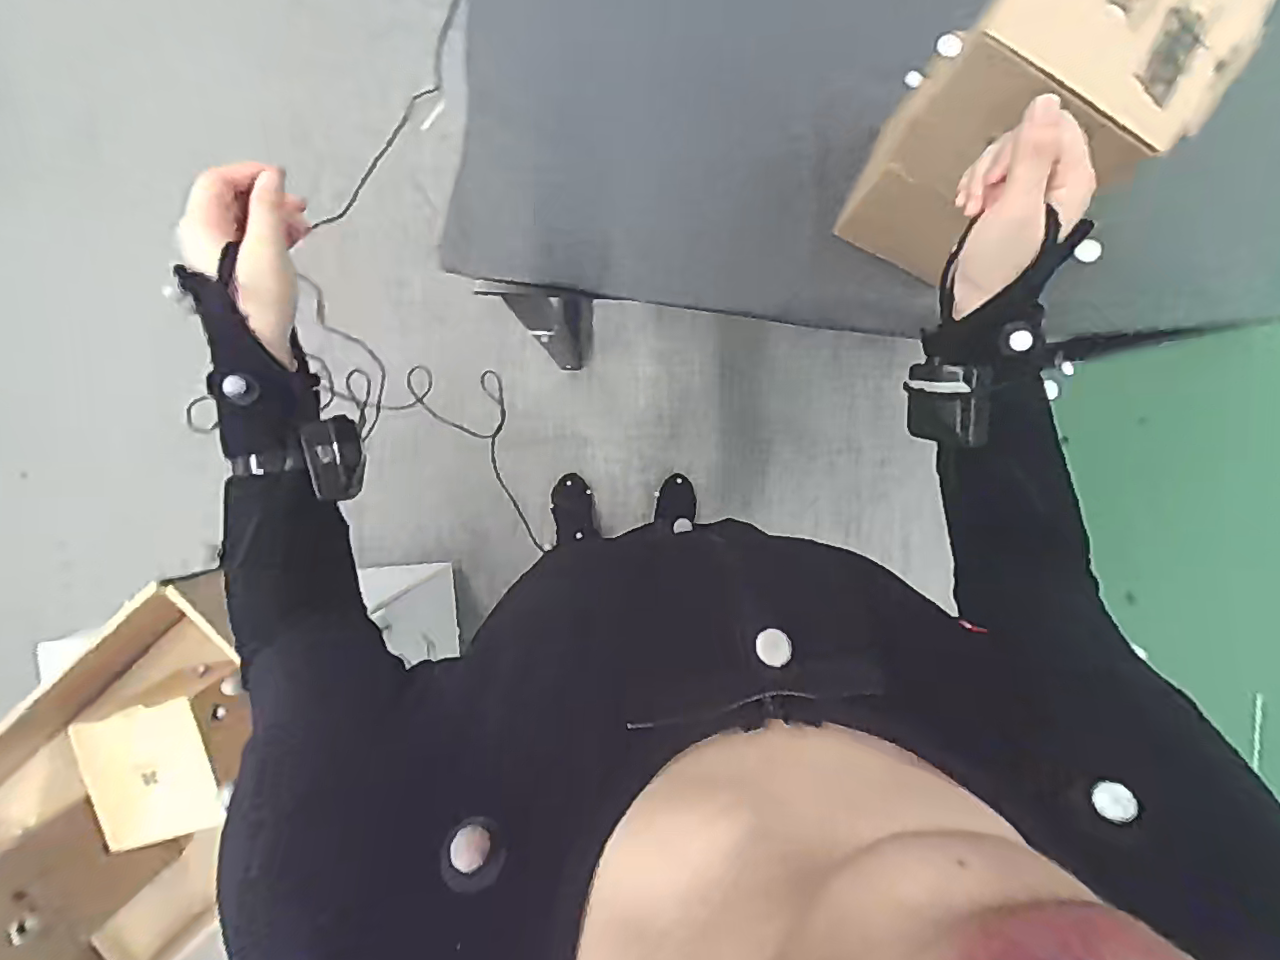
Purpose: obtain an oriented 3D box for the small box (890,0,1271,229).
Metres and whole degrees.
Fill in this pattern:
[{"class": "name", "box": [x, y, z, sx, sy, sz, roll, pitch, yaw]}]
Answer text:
[{"class": "small box", "box": [0.377, -0.366, 0.498, 0.179, 0.176, 0.168, 35, 91, 0]}]
